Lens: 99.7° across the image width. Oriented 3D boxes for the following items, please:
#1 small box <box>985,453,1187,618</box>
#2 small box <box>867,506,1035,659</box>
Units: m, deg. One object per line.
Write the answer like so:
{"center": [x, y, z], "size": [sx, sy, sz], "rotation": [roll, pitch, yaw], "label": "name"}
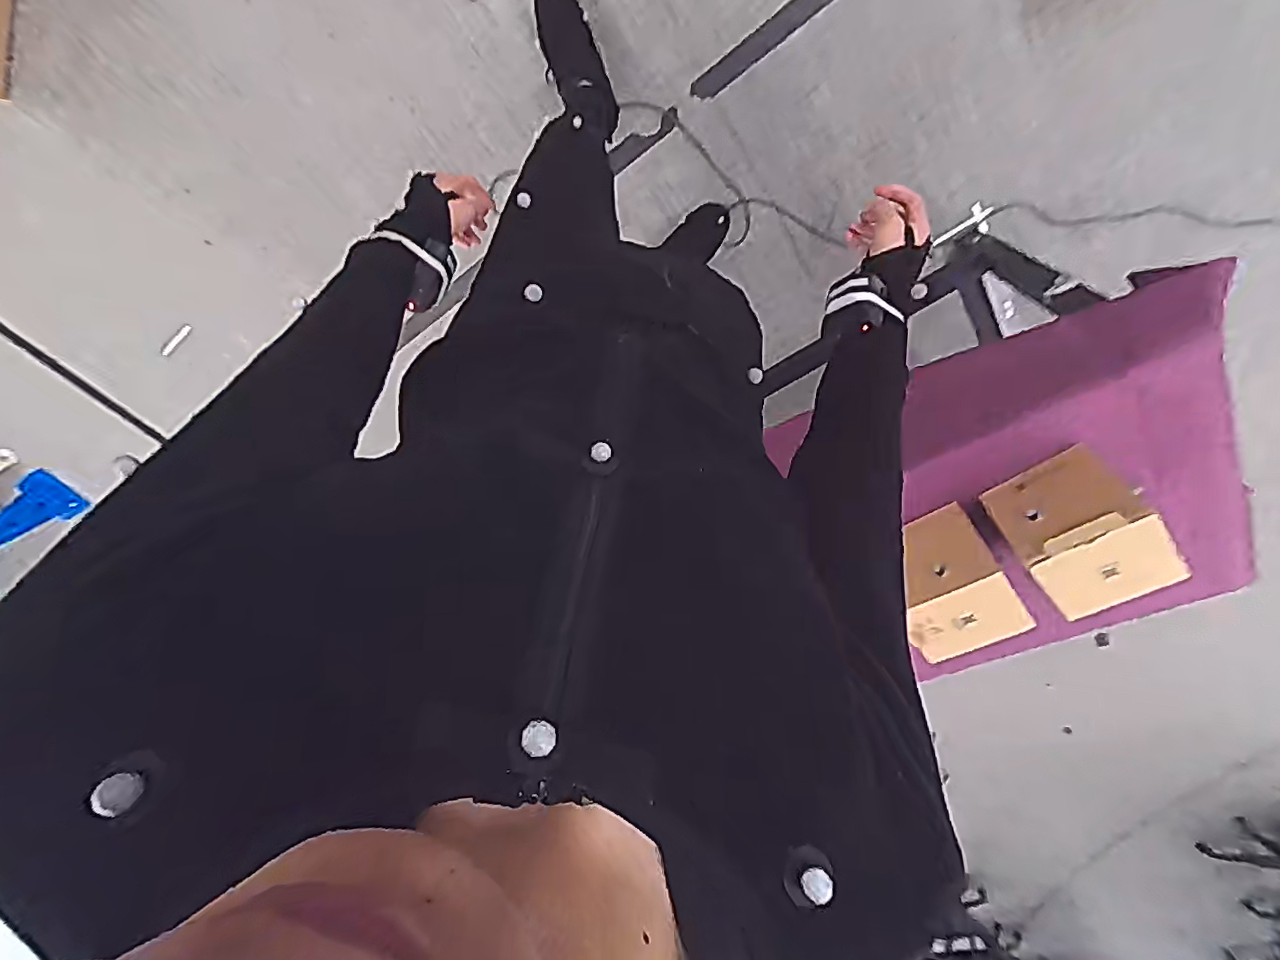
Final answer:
{"center": [0.692, 0.081, 0.859], "size": [0.168, 0.176, 0.179], "rotation": [-36, 118, 28], "label": "small box"}
{"center": [0.530, 0.175, 0.941], "size": [0.179, 0.176, 0.168], "rotation": [-32, 119, 26], "label": "small box"}
